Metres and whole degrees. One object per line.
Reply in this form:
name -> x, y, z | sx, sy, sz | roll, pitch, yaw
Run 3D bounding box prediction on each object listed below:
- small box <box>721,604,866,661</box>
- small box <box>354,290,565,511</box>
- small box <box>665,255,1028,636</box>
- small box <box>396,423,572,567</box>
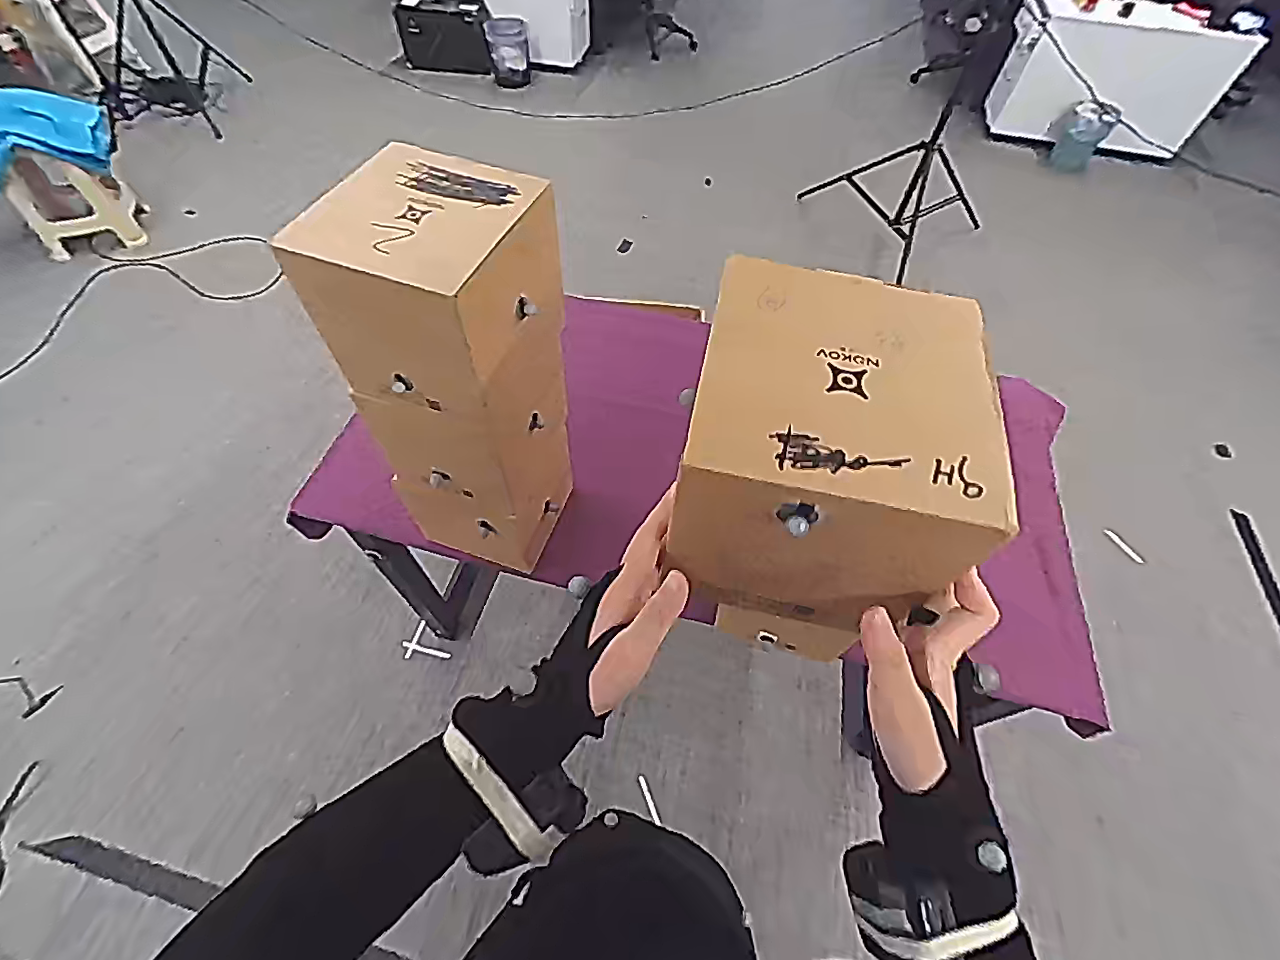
small box -> 0.211, 0.120, 0.729 | 0.168, 0.176, 0.179 | 13, 58, 8
small box -> -0.196, -0.091, 0.653 | 0.168, 0.176, 0.179 | 16, 58, 8
small box -> 0.115, -0.017, 0.369 | 0.168, 0.176, 0.179 | 12, 57, 5
small box -> -0.208, 0.006, 0.785 | 0.179, 0.176, 0.168 | 17, 57, 9
